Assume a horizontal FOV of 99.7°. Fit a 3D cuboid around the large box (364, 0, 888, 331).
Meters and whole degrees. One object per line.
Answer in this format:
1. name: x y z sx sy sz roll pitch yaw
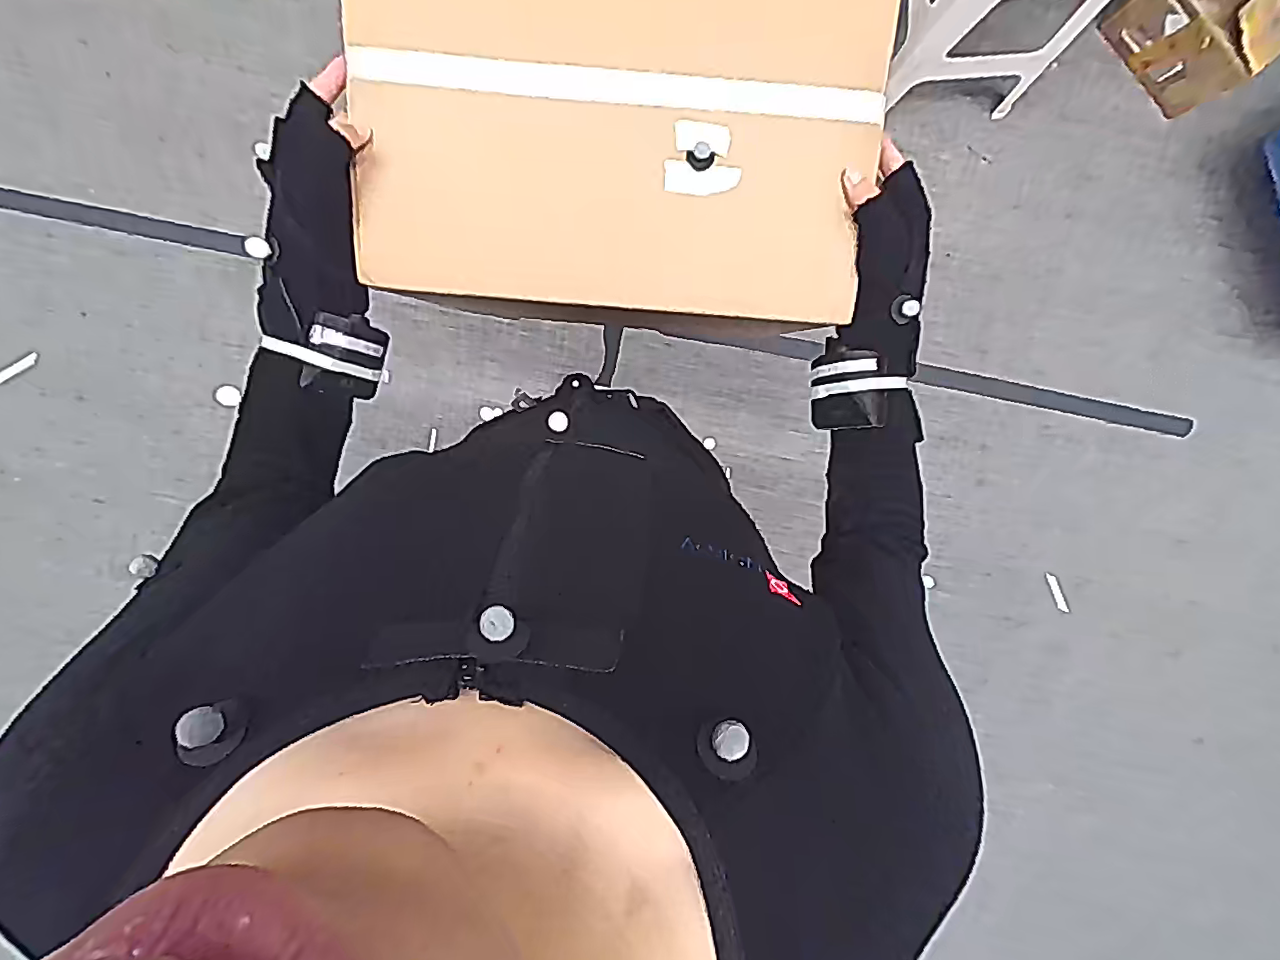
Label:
1. large box: -0.018 -0.334 0.566 0.408 0.320 0.320 4 103 -2
